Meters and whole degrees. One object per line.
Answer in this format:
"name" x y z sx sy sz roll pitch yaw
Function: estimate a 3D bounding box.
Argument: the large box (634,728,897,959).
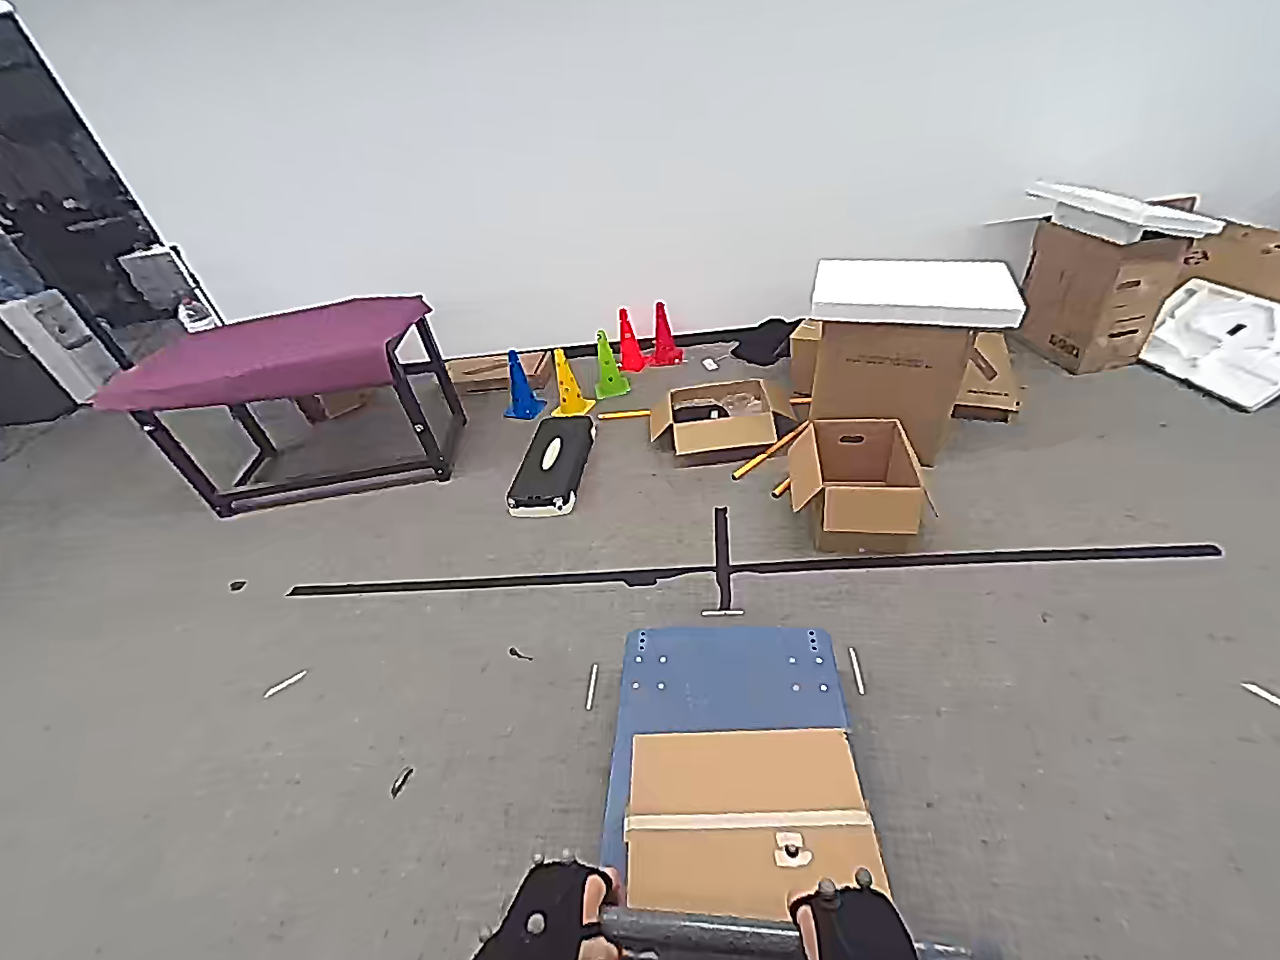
"large box" 0.203 0.702 1.019 0.408 0.320 0.320 -4 38 5
